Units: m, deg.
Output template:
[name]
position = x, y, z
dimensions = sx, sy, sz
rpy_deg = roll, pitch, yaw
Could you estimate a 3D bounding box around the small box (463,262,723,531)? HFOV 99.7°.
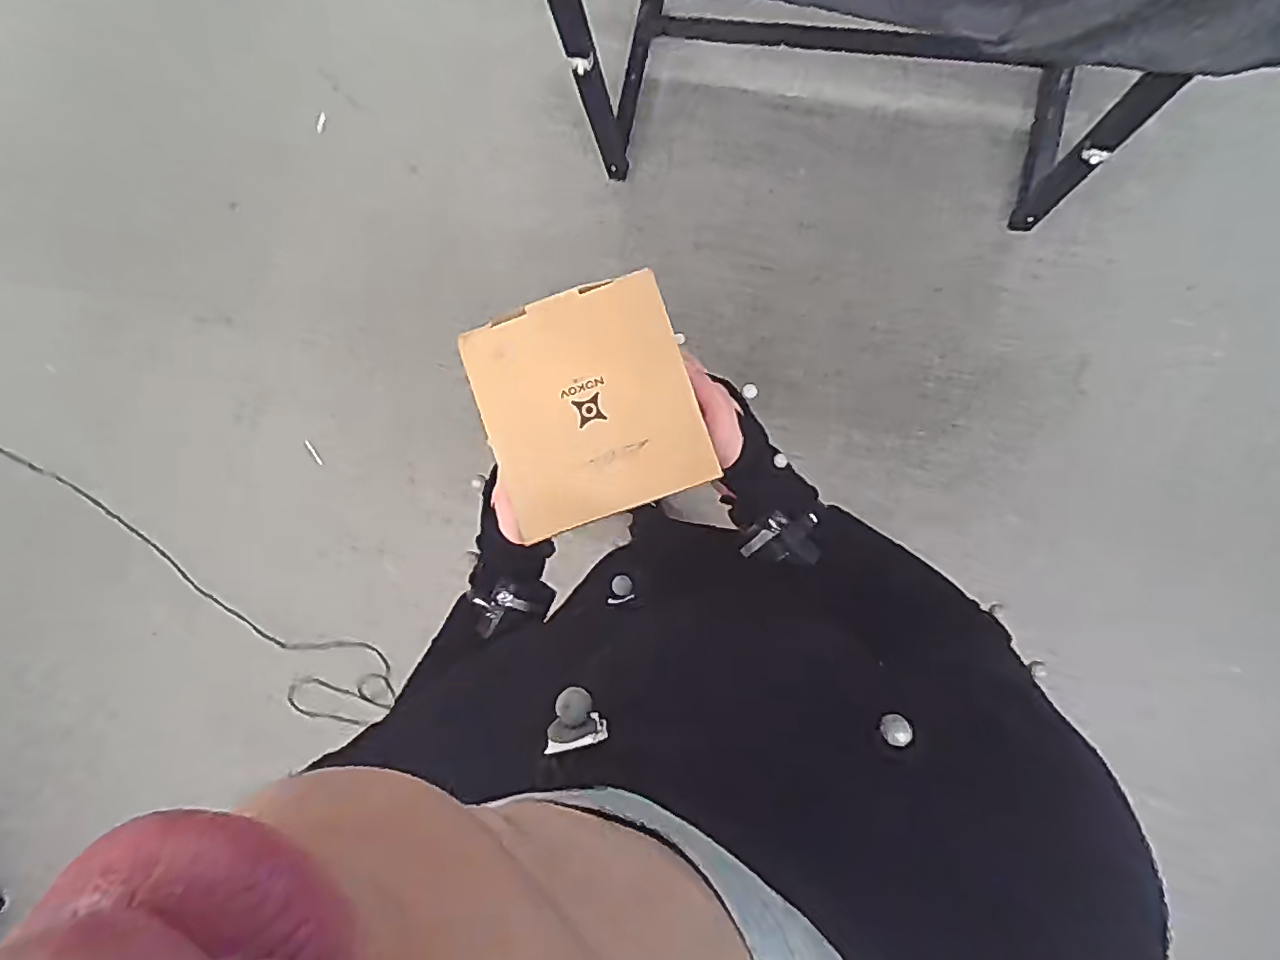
[small box]
position = -0.035, -0.064, 0.500
dimensions = 0.168, 0.176, 0.179
rpy_deg = -18, 90, 3
